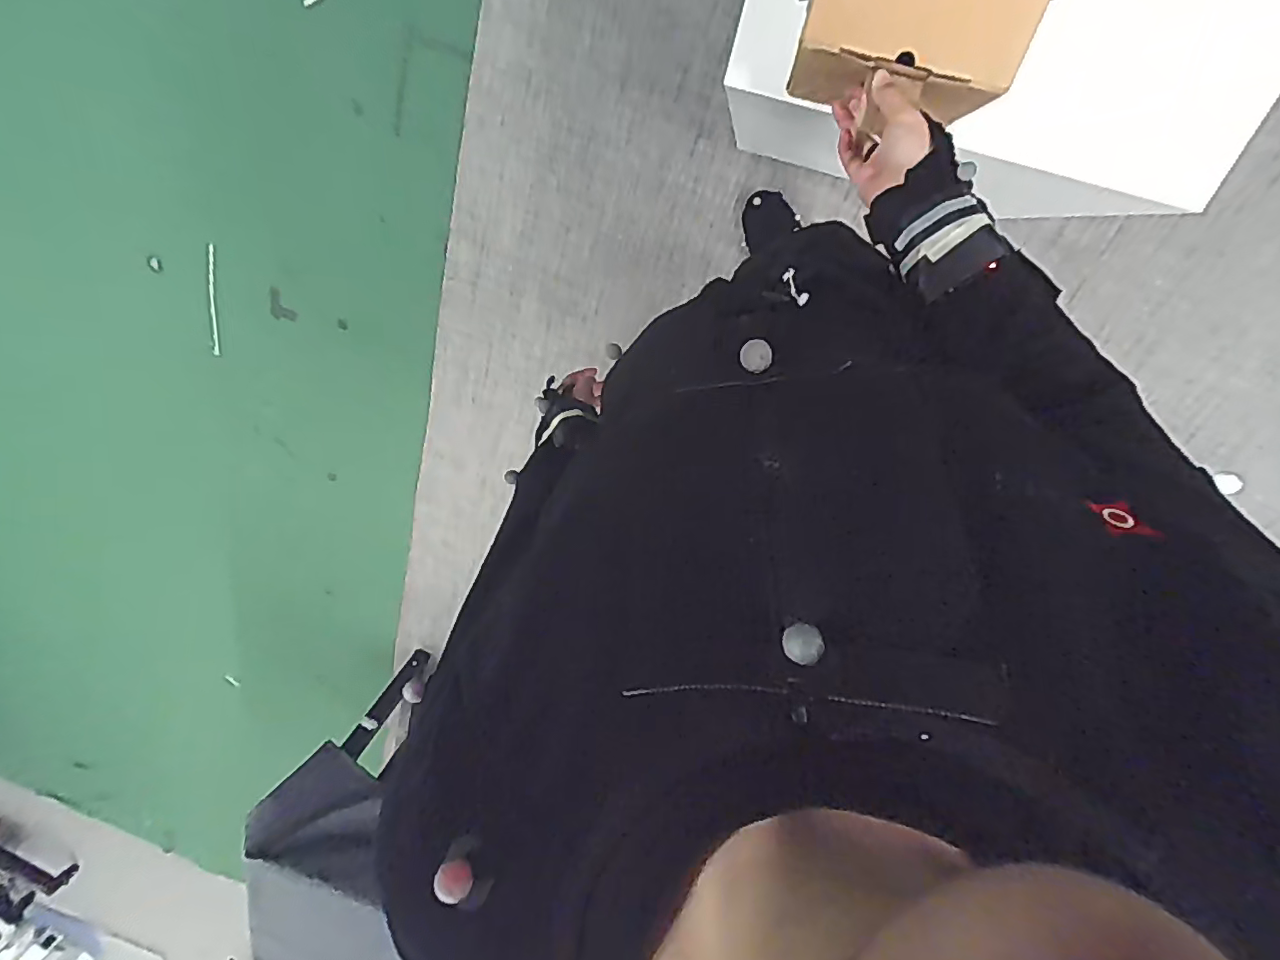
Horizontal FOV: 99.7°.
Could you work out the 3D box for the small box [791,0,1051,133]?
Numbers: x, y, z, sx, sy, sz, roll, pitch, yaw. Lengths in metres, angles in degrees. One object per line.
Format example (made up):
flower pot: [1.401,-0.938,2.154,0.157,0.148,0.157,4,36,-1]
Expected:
small box: [0.235,-0.420,0.453,0.168,0.176,0.179,16,116,3]
